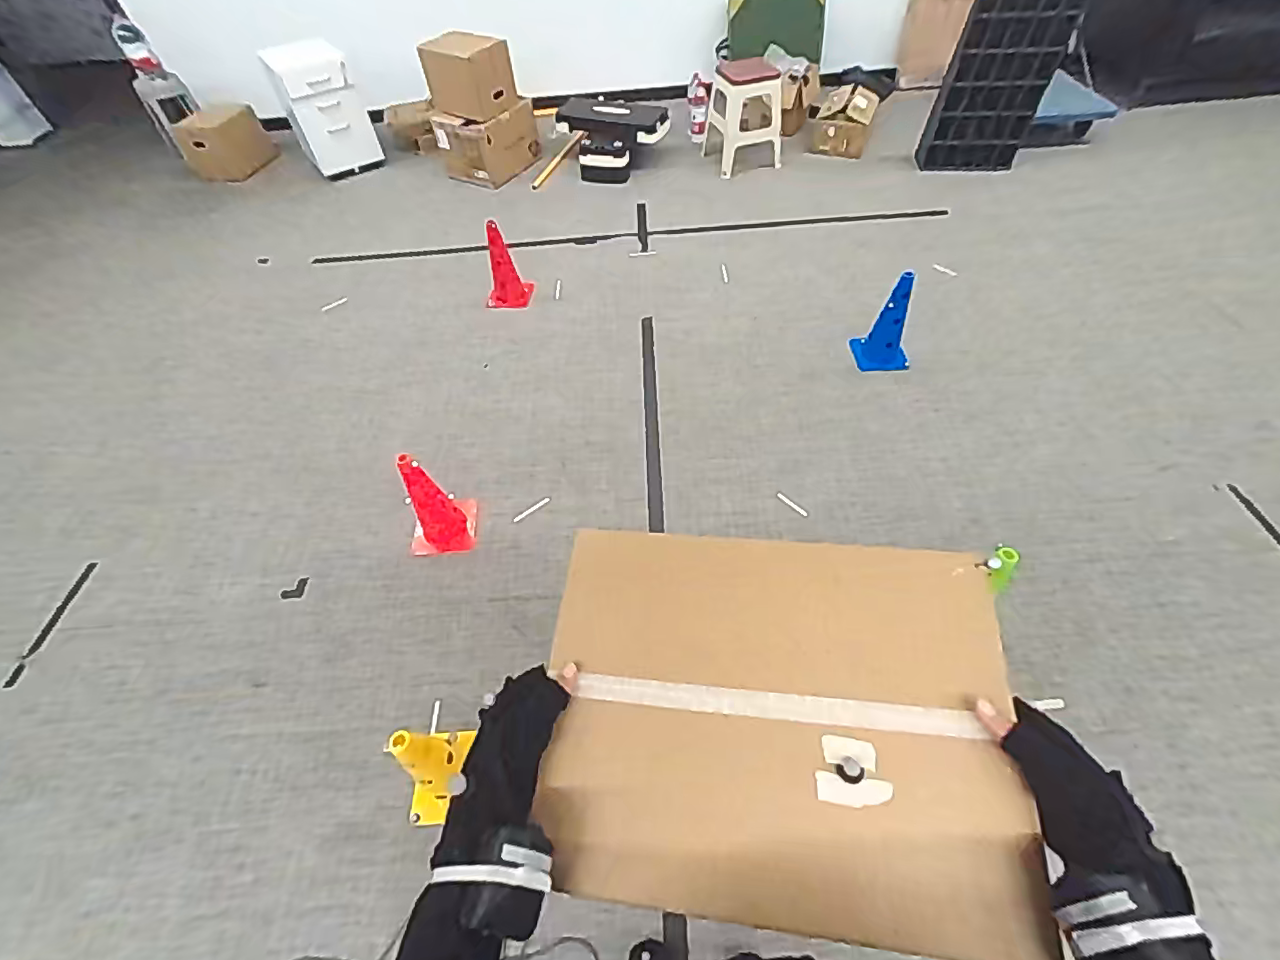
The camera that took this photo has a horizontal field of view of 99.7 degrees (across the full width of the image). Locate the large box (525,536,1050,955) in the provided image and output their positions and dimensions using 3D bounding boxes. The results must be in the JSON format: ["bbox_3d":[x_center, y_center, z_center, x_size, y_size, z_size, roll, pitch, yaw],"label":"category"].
[{"bbox_3d":[0.128,0.274,0.613,0.408,0.320,0.320,3,62,9],"label":"large box"}]

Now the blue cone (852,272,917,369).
[{"bbox_3d":[0.960,-0.612,2.056,0.192,0.380,0.193,0,53,2],"label":"blue cone"}]

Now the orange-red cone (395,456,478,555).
[{"bbox_3d":[-0.648,0.054,1.639,0.198,0.360,0.199,-6,54,0],"label":"orange-red cone"}]

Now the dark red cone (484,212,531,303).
[{"bbox_3d":[-0.628,-0.991,2.414,0.201,0.394,0.202,2,53,4],"label":"dark red cone"}]
